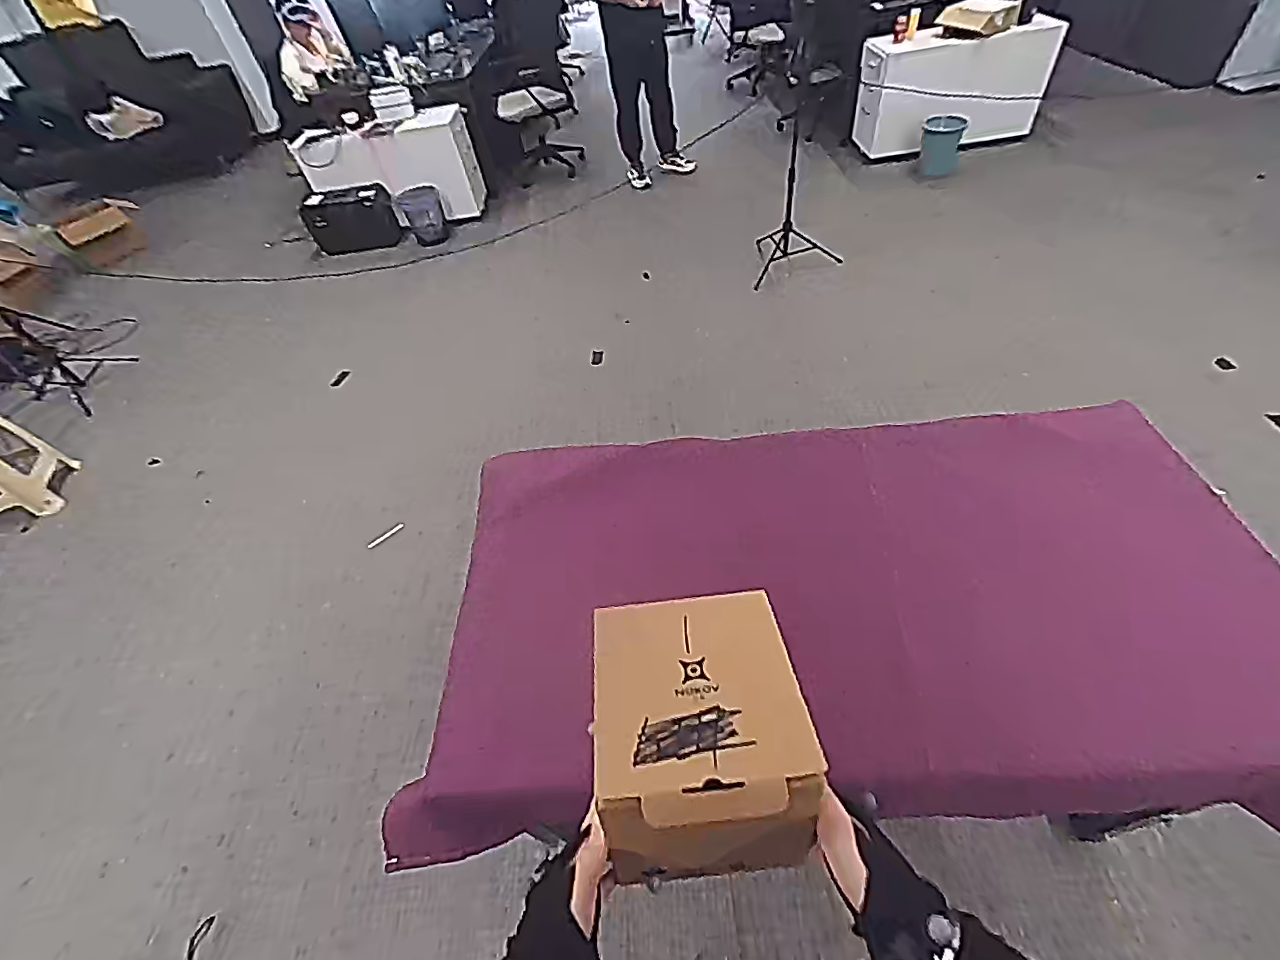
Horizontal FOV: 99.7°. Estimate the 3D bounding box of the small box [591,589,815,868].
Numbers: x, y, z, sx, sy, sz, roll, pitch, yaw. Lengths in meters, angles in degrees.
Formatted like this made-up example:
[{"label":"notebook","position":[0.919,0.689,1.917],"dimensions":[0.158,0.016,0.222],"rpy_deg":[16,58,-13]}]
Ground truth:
[{"label":"small box","position":[0.049,0.229,0.498],"dimensions":[0.168,0.176,0.179],"rpy_deg":[-6,36,0]}]
